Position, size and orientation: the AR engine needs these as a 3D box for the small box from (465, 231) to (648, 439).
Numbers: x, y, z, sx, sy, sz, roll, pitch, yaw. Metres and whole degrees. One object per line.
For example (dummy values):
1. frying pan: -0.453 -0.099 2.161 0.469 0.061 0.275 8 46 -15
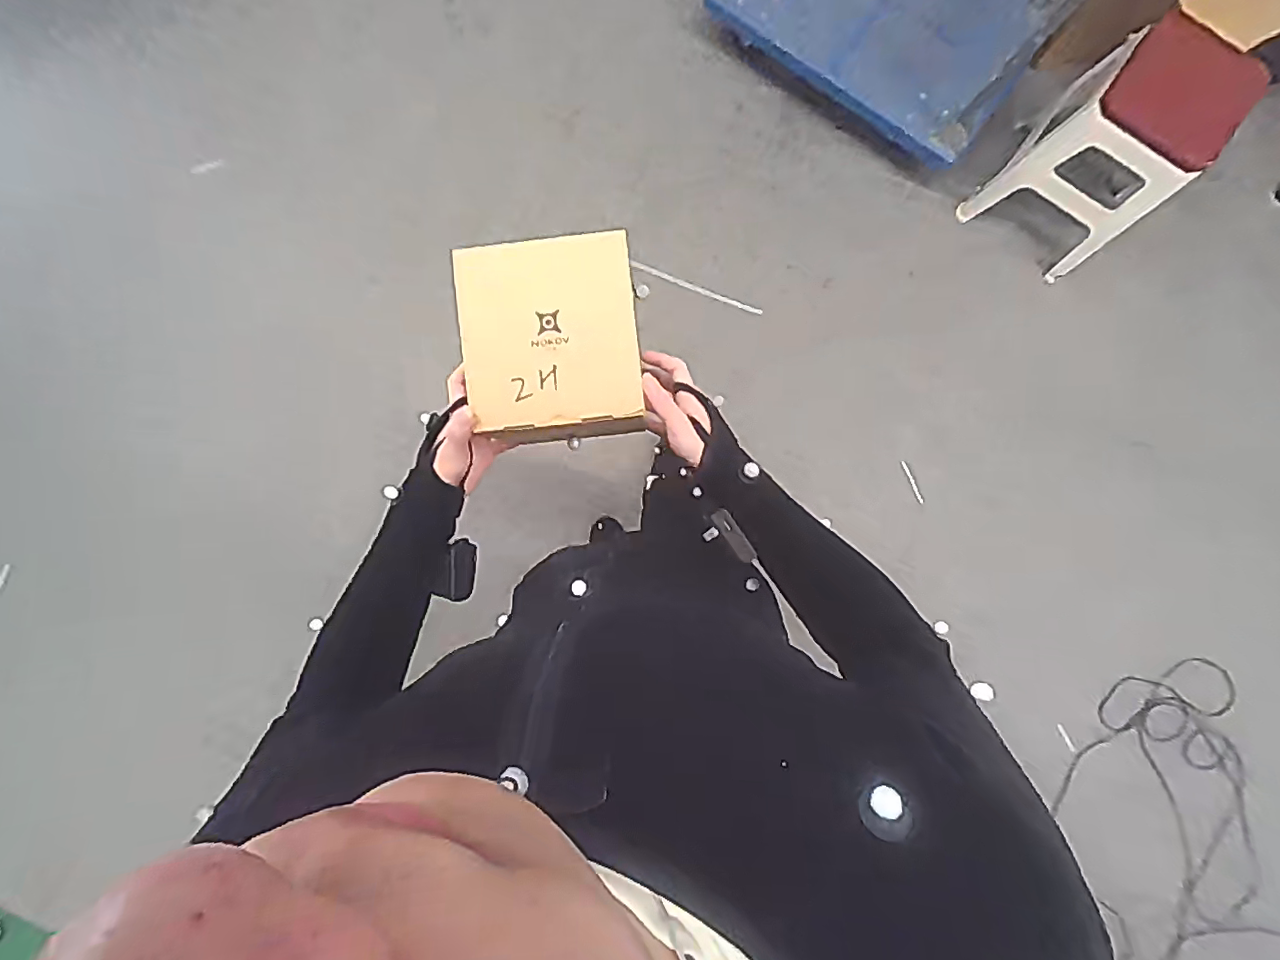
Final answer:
1. small box: -0.080 -0.144 0.594 0.168 0.176 0.179 -5 90 1
